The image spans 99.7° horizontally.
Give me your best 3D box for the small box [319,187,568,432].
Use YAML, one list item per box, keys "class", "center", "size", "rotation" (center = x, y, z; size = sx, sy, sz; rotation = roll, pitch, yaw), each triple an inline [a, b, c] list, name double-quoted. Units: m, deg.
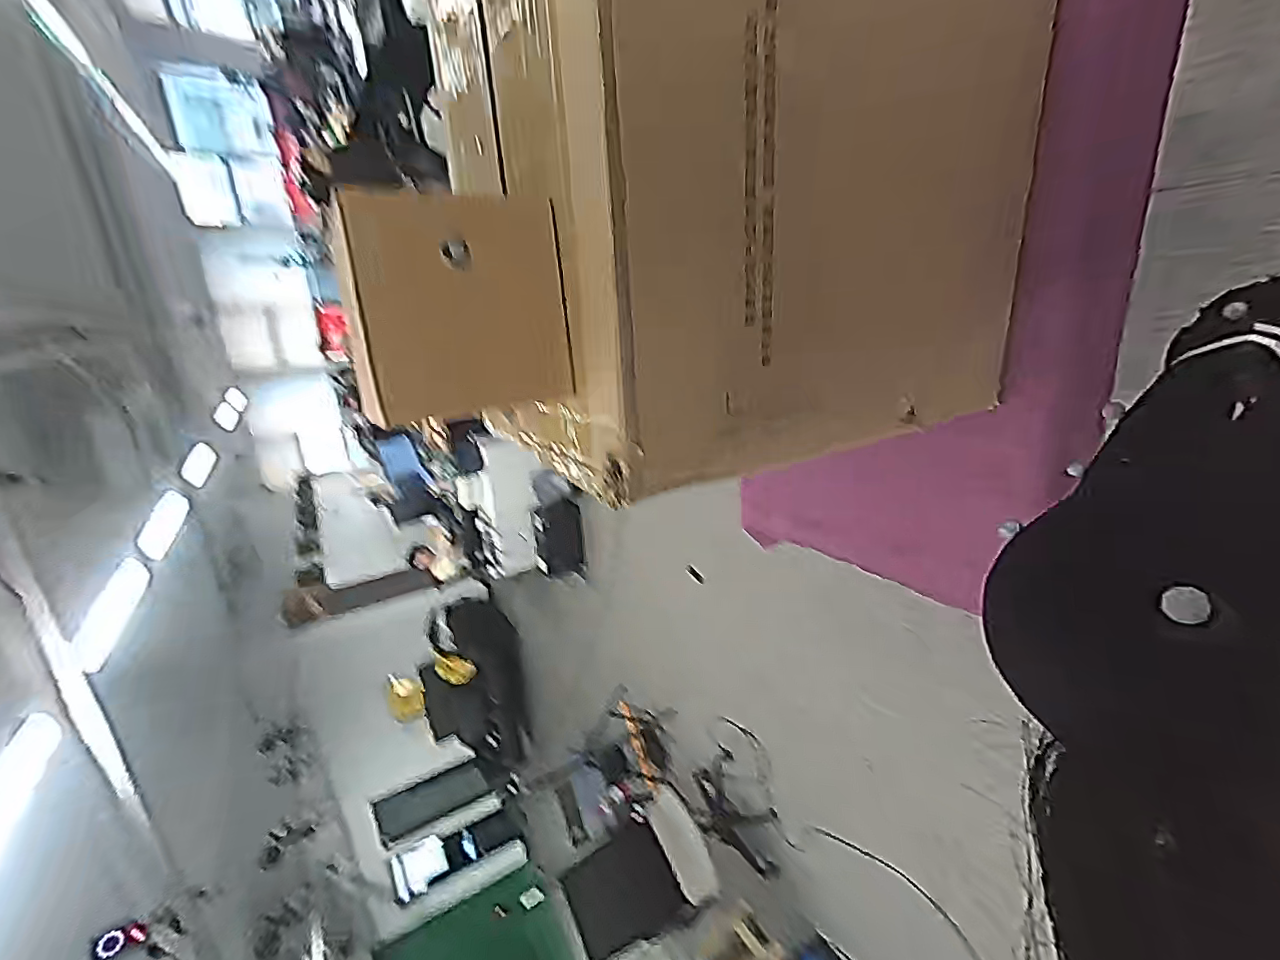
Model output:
- class: "small box"
  center: [-0.182, -0.148, 0.501]
  size: [0.168, 0.176, 0.179]
  rotation: [15, 115, 59]
